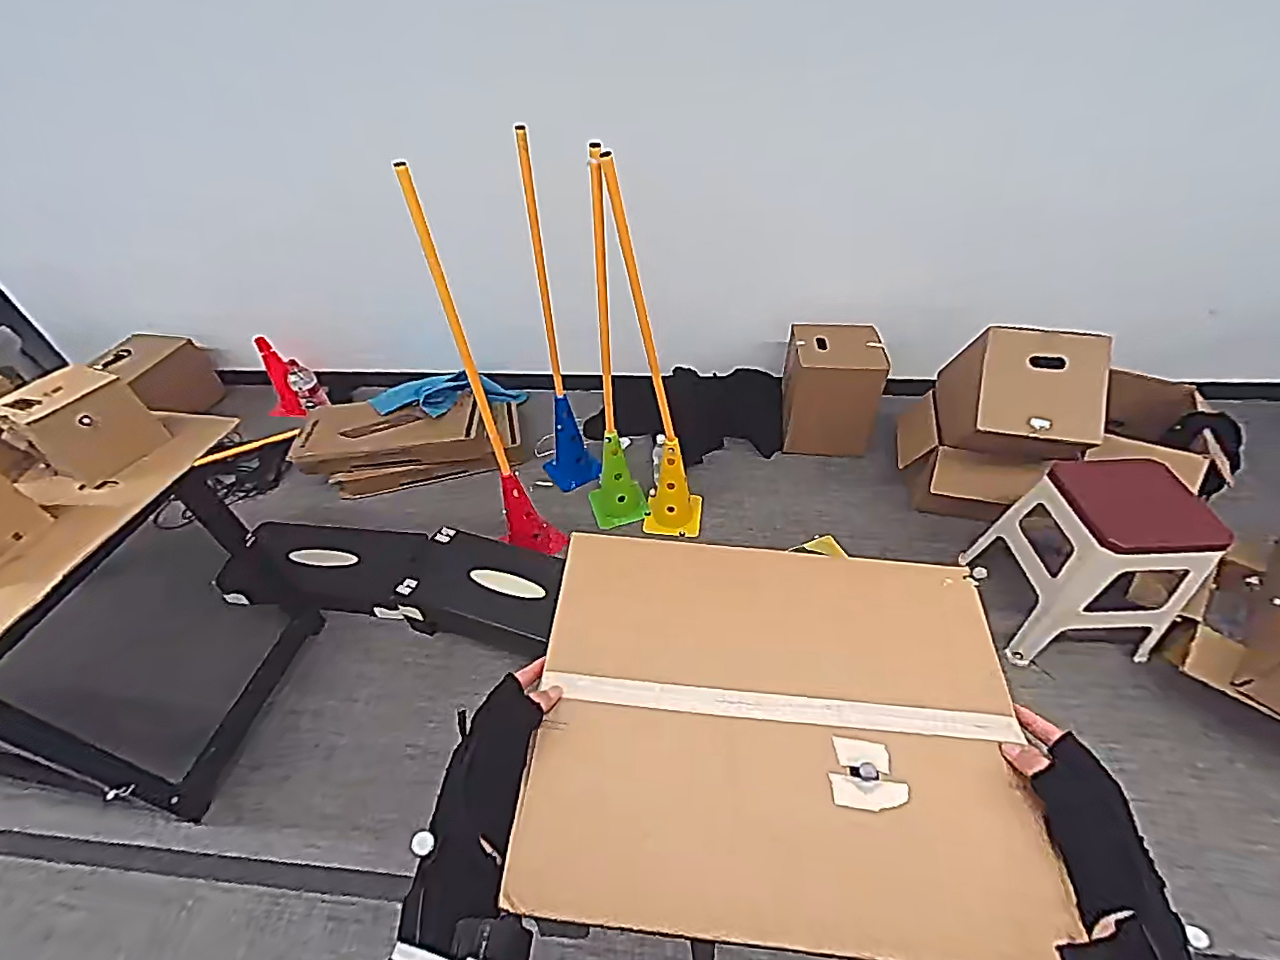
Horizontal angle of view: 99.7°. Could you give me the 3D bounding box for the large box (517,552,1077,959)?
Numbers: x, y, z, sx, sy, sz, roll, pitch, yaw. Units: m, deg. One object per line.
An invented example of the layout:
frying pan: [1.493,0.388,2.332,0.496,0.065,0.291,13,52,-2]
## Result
large box: [0.115,0.301,0.587,0.408,0.320,0.320,5,53,3]
